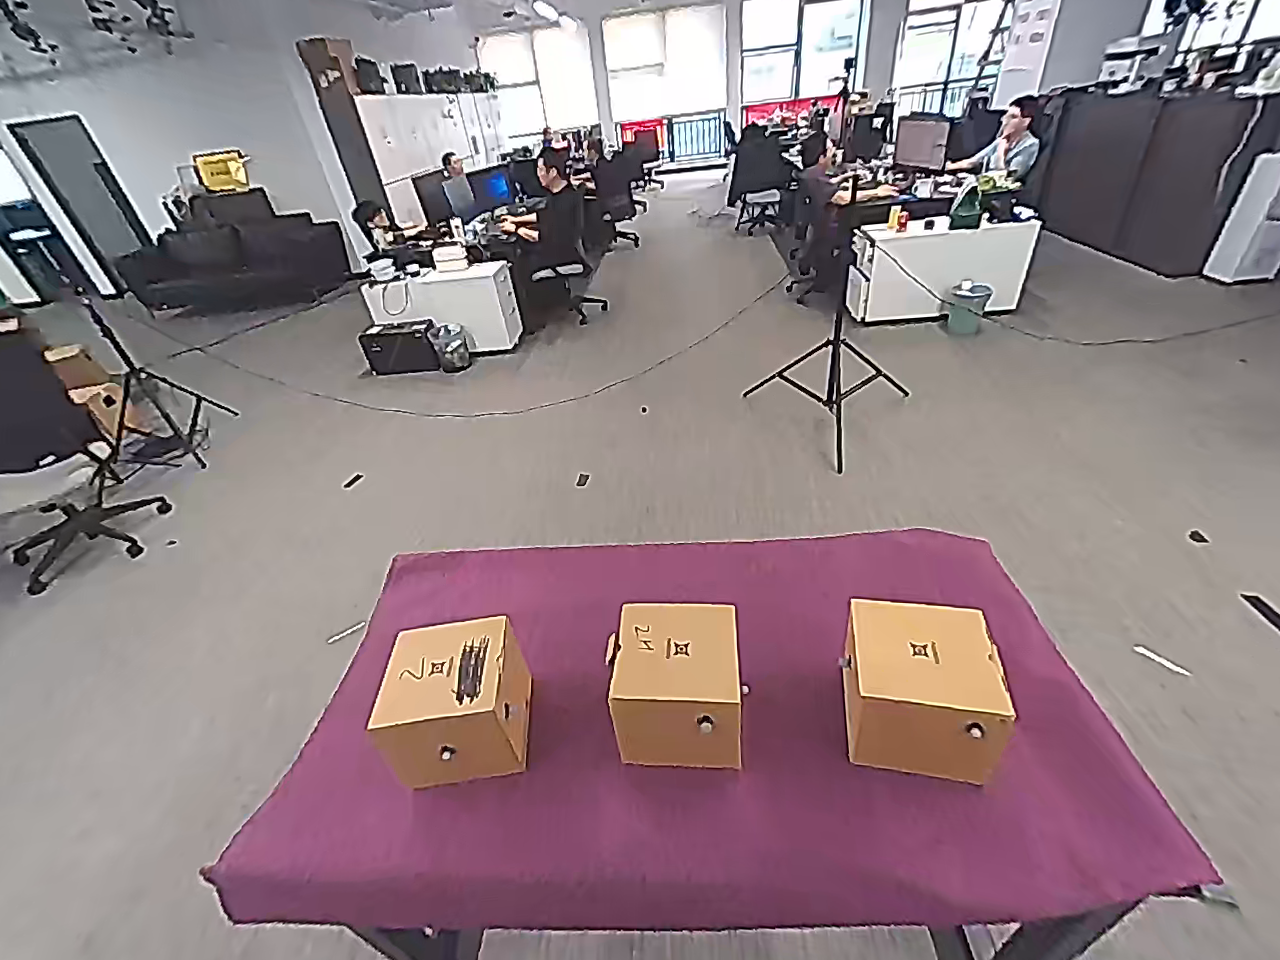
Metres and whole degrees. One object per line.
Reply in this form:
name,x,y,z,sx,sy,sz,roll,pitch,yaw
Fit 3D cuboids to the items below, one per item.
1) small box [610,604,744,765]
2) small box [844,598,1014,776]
small box,0.062,0.306,0.812,0.179,0.176,0.168,-2,35,8
small box,0.389,0.291,0.768,0.179,0.176,0.168,2,36,14
